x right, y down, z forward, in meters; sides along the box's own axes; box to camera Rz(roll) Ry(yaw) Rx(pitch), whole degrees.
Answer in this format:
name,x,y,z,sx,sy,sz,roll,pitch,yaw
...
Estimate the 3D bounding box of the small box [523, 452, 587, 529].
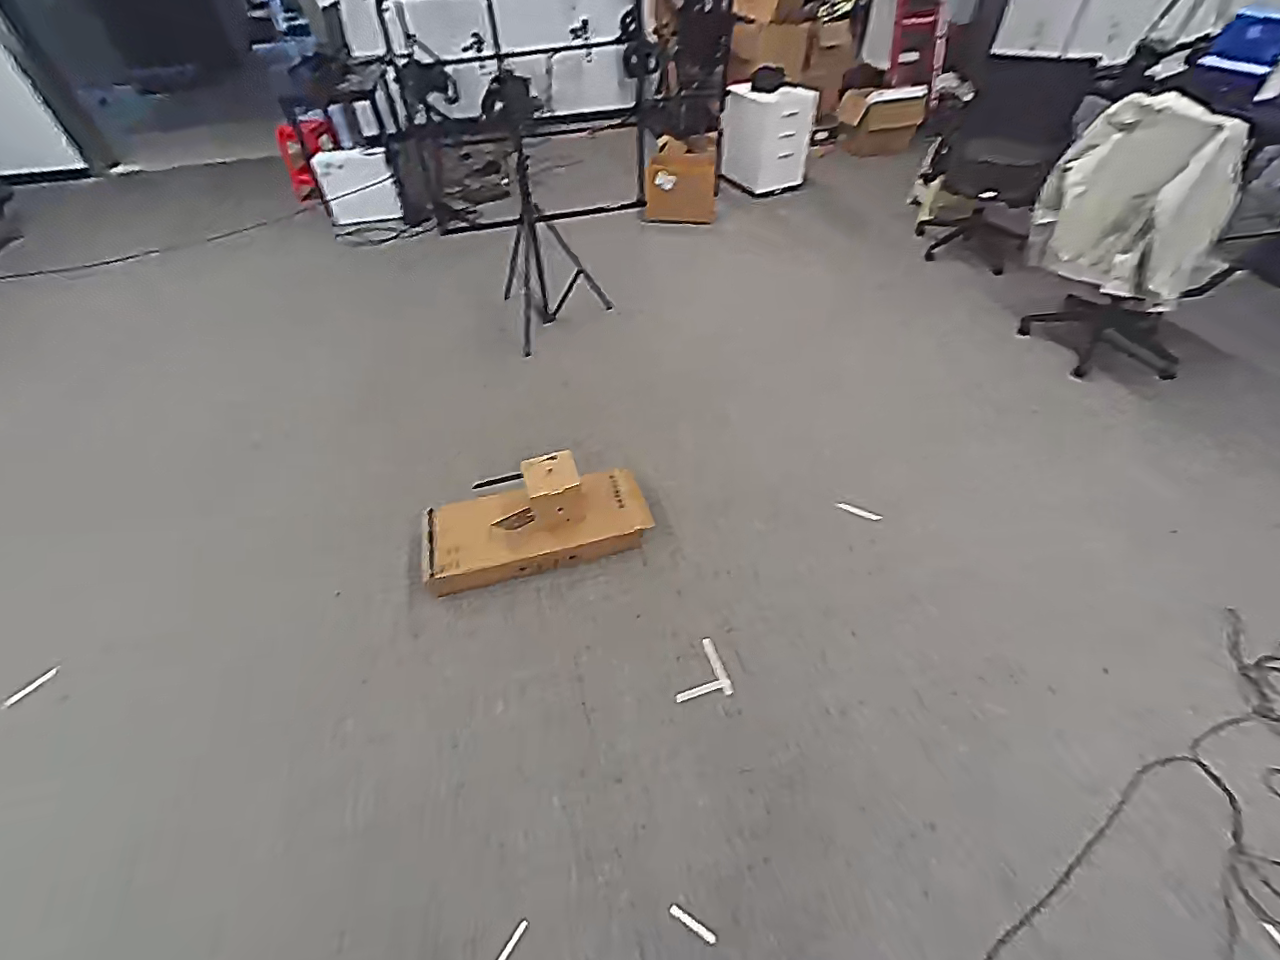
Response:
name,x,y,z,sx,sy,sz,roll,pitch,yaw
small box,-0.277,0.041,1.782,0.168,0.176,0.179,-15,48,-11
